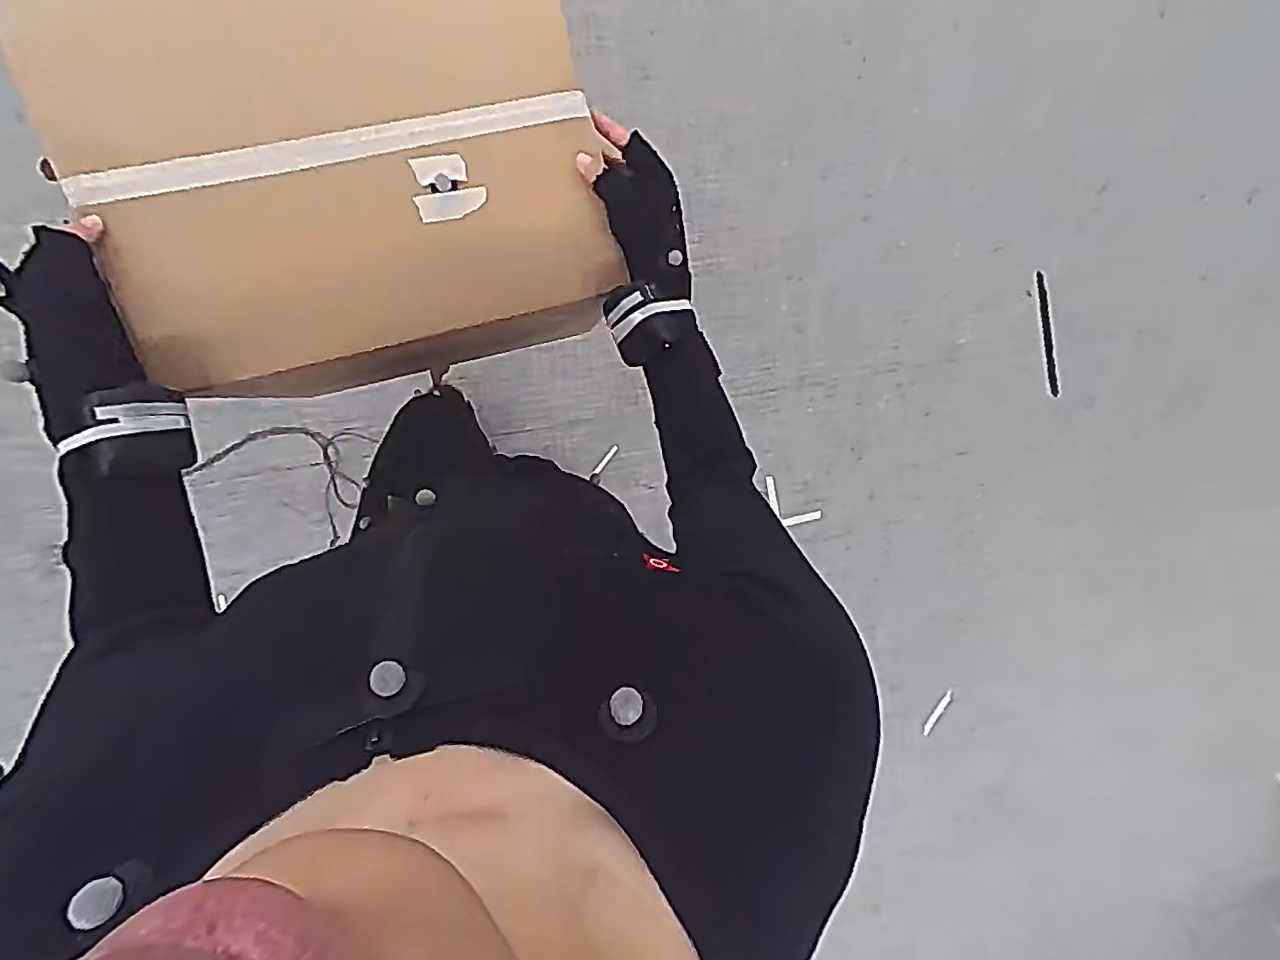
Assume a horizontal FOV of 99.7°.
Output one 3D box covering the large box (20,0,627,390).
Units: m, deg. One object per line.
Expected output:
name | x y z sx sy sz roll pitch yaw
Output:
large box | -0.269 -0.304 0.601 0.408 0.320 0.320 -17 102 -10
